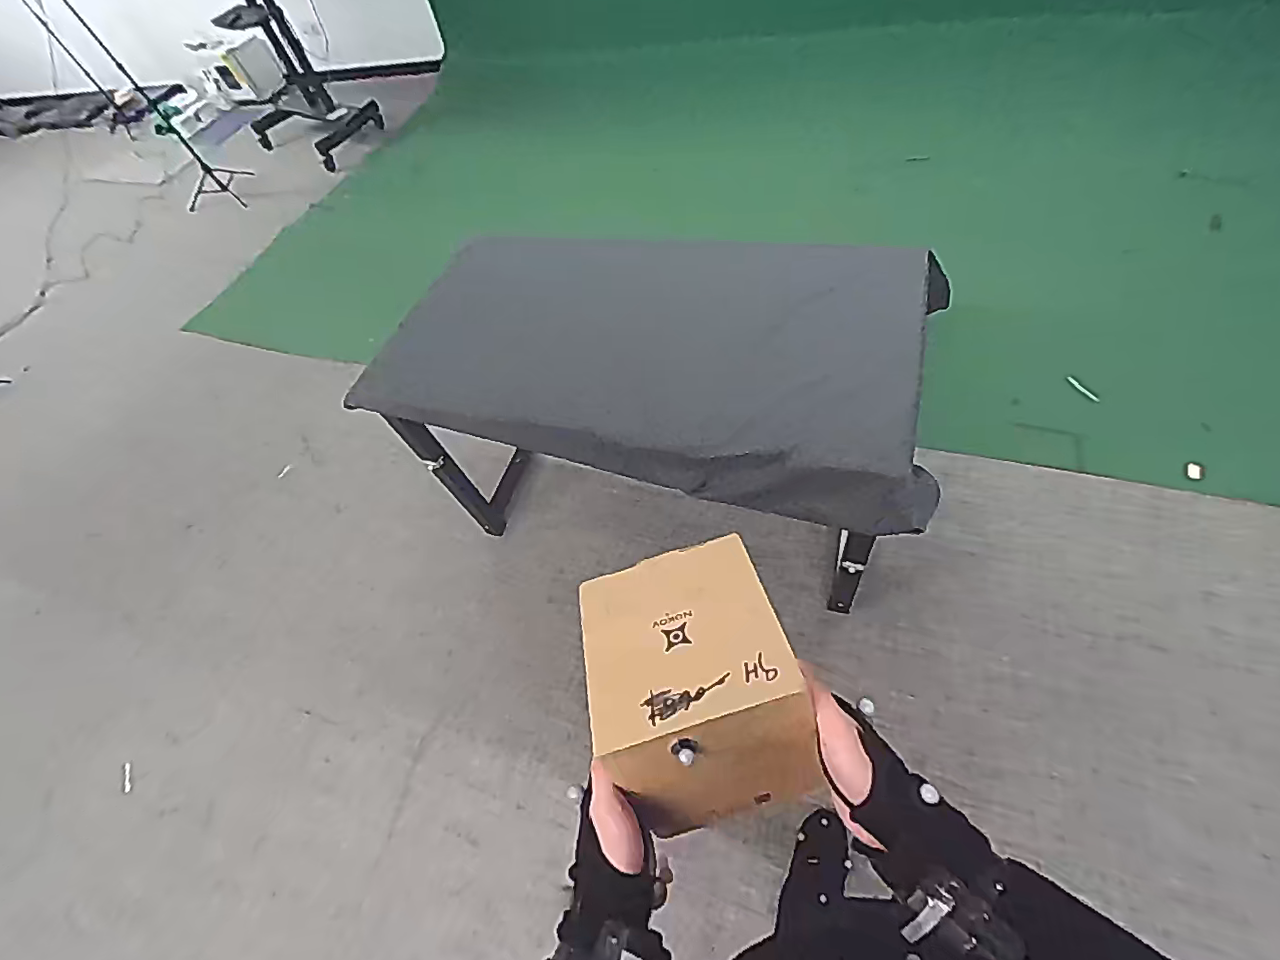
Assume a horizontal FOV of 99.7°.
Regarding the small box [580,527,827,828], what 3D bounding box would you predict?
[{"bbox_3d":[0.055,0.180,0.501,0.168,0.176,0.179,-21,36,3],"label":"small box"}]
